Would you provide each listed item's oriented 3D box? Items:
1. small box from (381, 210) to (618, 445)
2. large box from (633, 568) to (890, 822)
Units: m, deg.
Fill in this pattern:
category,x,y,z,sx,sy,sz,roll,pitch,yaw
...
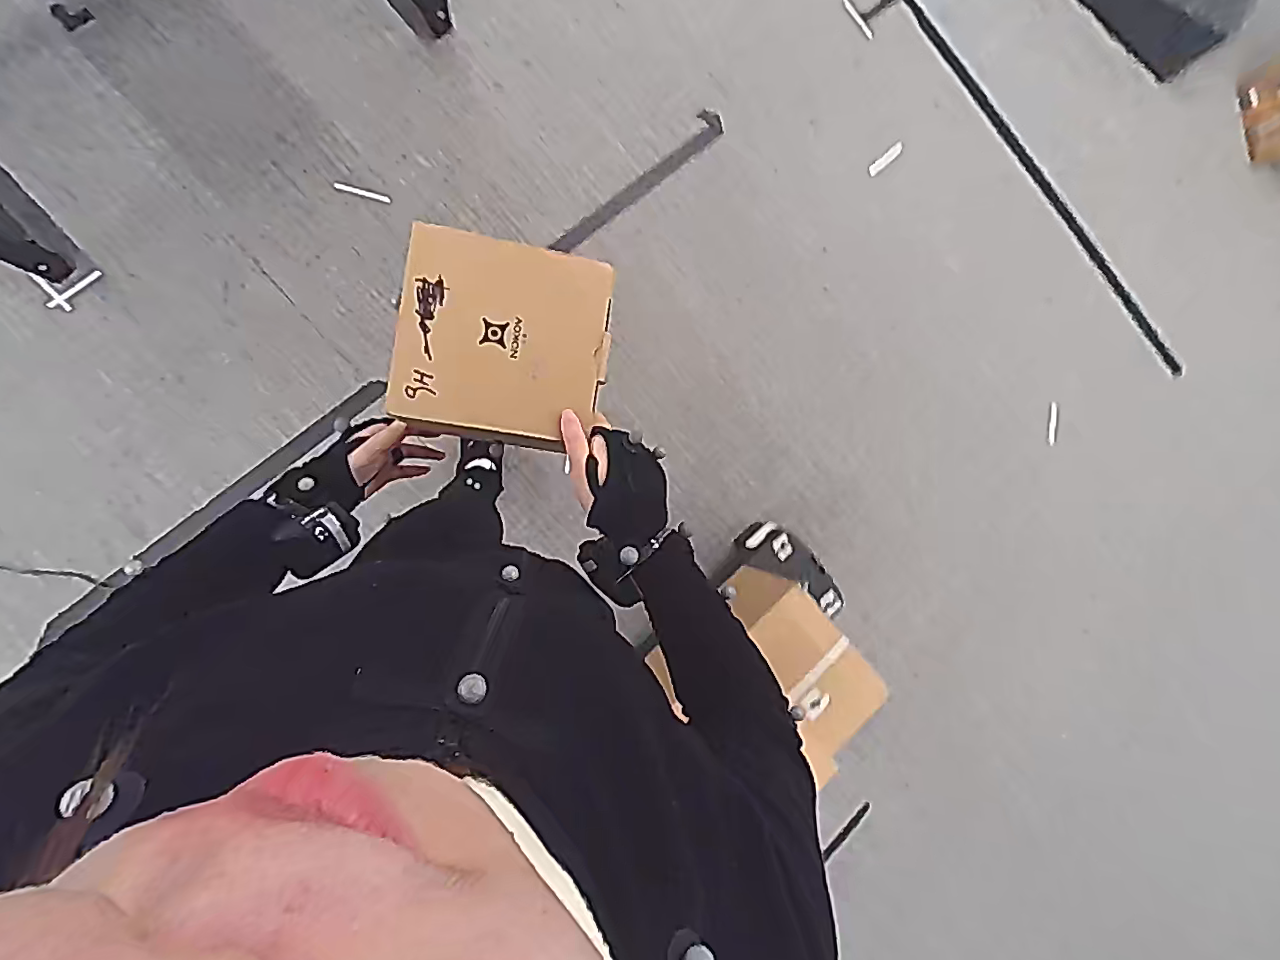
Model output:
category,x,y,z,sx,sy,sz,roll,pitch,yaw
small box,-0.132,-0.129,0.535,0.179,0.176,0.168,9,88,-12
large box,0.246,0.455,1.206,0.408,0.320,0.320,-42,96,-10
